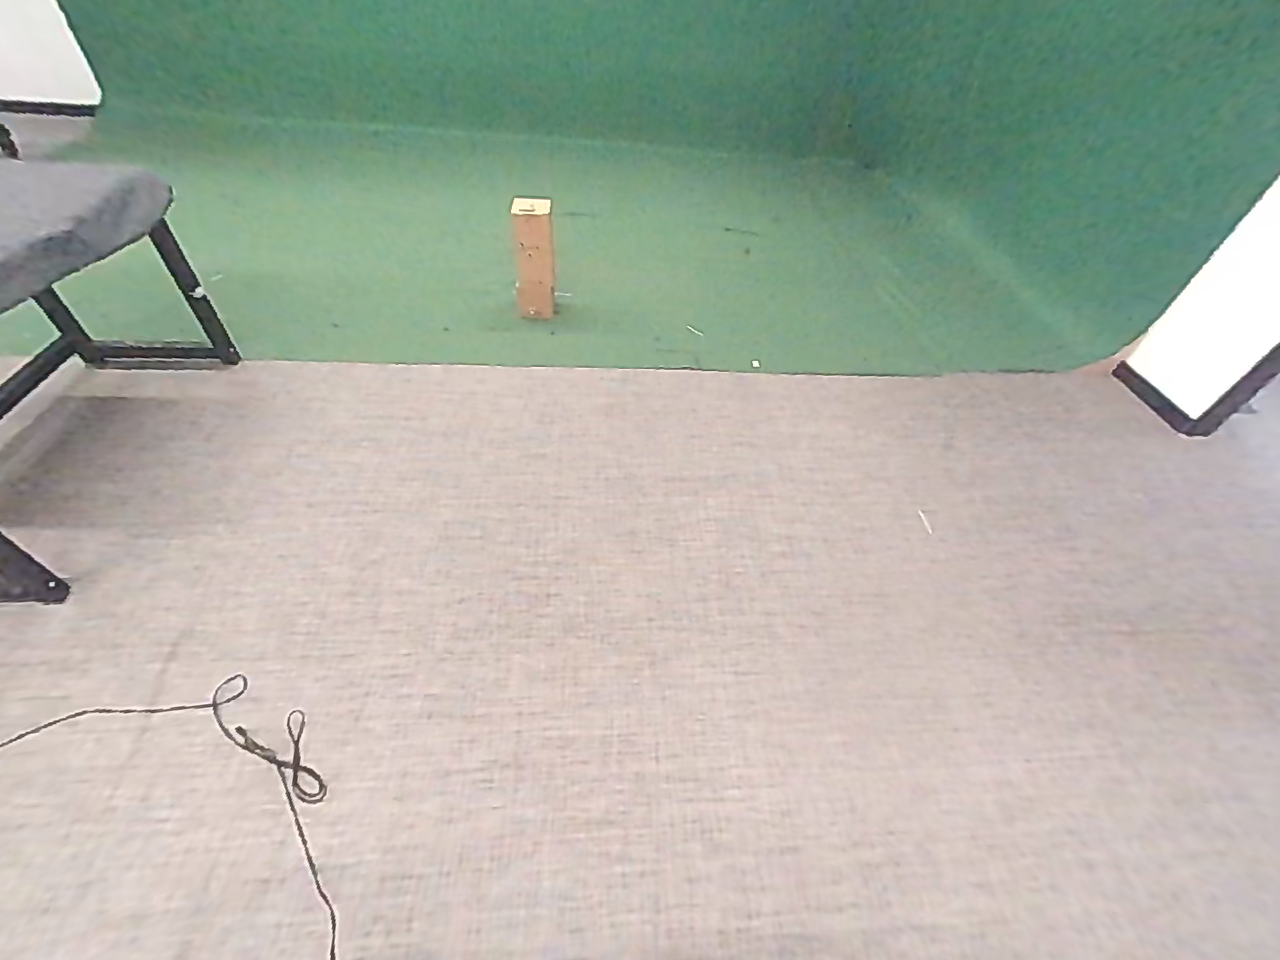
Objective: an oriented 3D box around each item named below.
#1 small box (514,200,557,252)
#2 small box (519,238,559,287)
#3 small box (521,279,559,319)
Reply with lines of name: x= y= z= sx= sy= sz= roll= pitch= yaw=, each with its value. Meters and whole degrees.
small box: x=-0.468 y=-1.147 z=2.446 sx=0.168 sy=0.176 sz=0.179 roll=0 pitch=46 yaw=-4
small box: x=-0.475 y=-1.036 z=2.566 sx=0.168 sy=0.176 sz=0.179 roll=0 pitch=46 yaw=-4
small box: x=-0.494 y=-0.920 z=2.681 sx=0.168 sy=0.176 sz=0.179 roll=0 pitch=48 yaw=-4
